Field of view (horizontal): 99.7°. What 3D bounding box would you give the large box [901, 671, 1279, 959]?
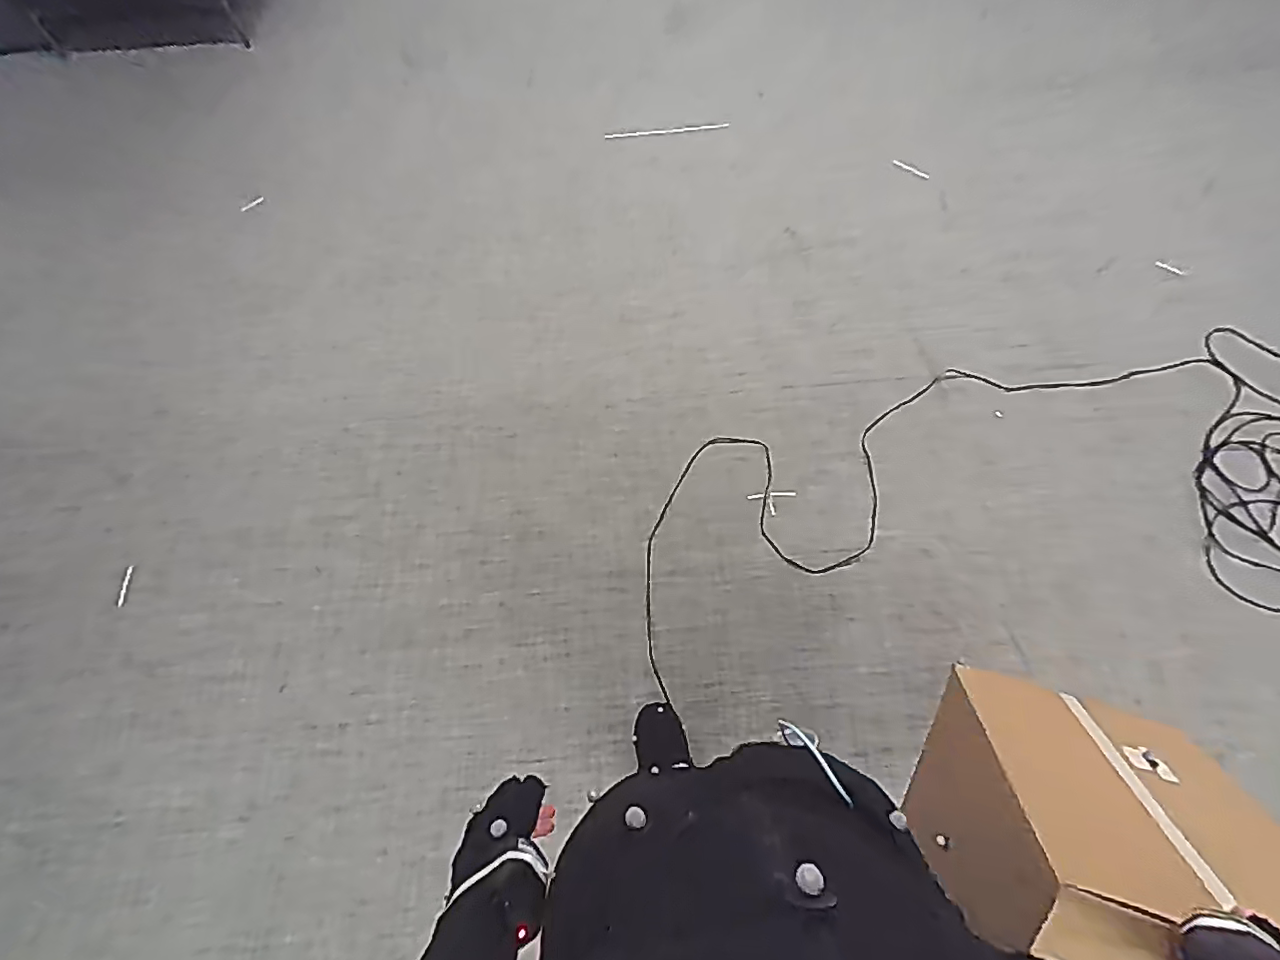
[{"bbox_3d":[0.568,0.525,0.691,0.320,0.408,0.320,15,105,13],"label":"large box"}]
